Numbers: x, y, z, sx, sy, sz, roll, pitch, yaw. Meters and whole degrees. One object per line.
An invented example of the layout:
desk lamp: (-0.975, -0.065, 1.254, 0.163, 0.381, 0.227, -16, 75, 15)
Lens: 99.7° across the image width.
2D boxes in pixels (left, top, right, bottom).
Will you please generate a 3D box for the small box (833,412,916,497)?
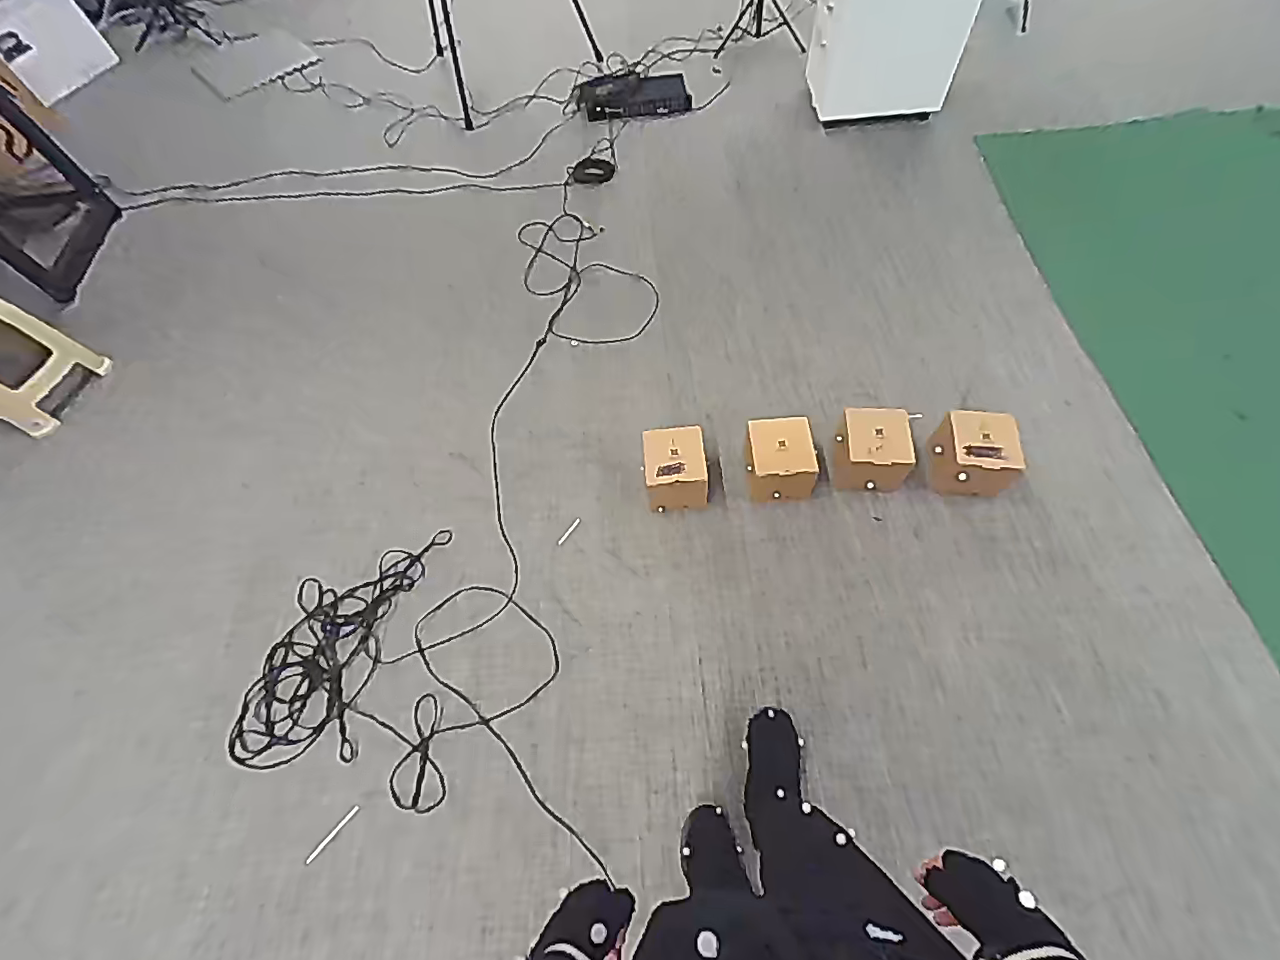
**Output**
small box: (0.648, -0.071, 1.516, 0.168, 0.176, 0.179, 3, 62, 7)

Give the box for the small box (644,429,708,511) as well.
small box: (0.103, -0.022, 1.534, 0.168, 0.176, 0.179, -5, 60, 2)

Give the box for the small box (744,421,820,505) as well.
small box: (0.392, -0.045, 1.525, 0.168, 0.176, 0.179, -4, 62, 3)
